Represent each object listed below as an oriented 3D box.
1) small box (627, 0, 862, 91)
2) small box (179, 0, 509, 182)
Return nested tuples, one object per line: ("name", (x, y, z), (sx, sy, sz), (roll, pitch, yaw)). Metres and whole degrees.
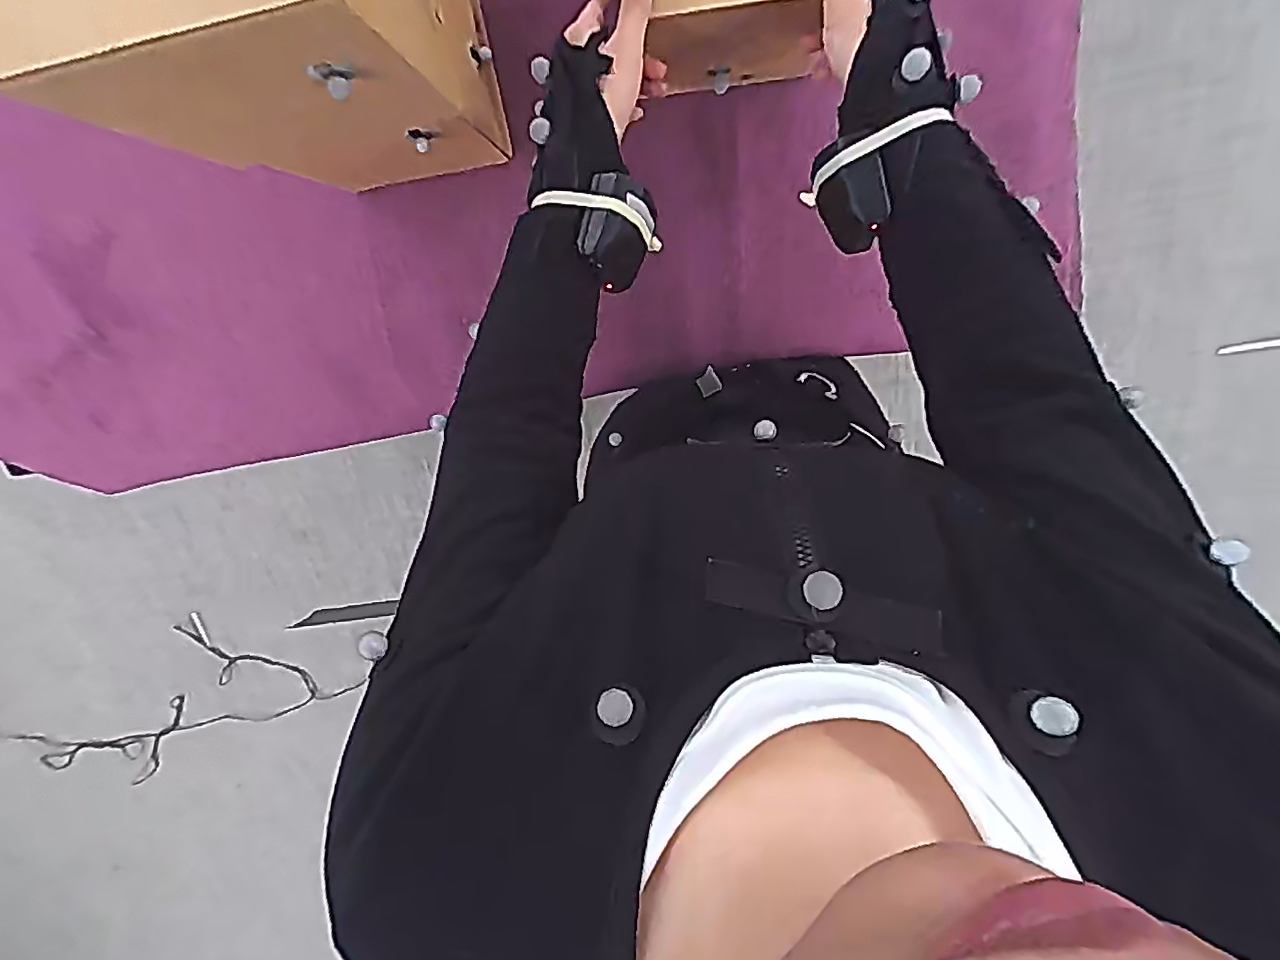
("small box", (0.068, -0.427, 0.403), (0.168, 0.176, 0.179), (-5, 110, 3))
("small box", (-0.226, -0.358, 0.437), (0.179, 0.176, 0.168), (-9, 109, 4))
